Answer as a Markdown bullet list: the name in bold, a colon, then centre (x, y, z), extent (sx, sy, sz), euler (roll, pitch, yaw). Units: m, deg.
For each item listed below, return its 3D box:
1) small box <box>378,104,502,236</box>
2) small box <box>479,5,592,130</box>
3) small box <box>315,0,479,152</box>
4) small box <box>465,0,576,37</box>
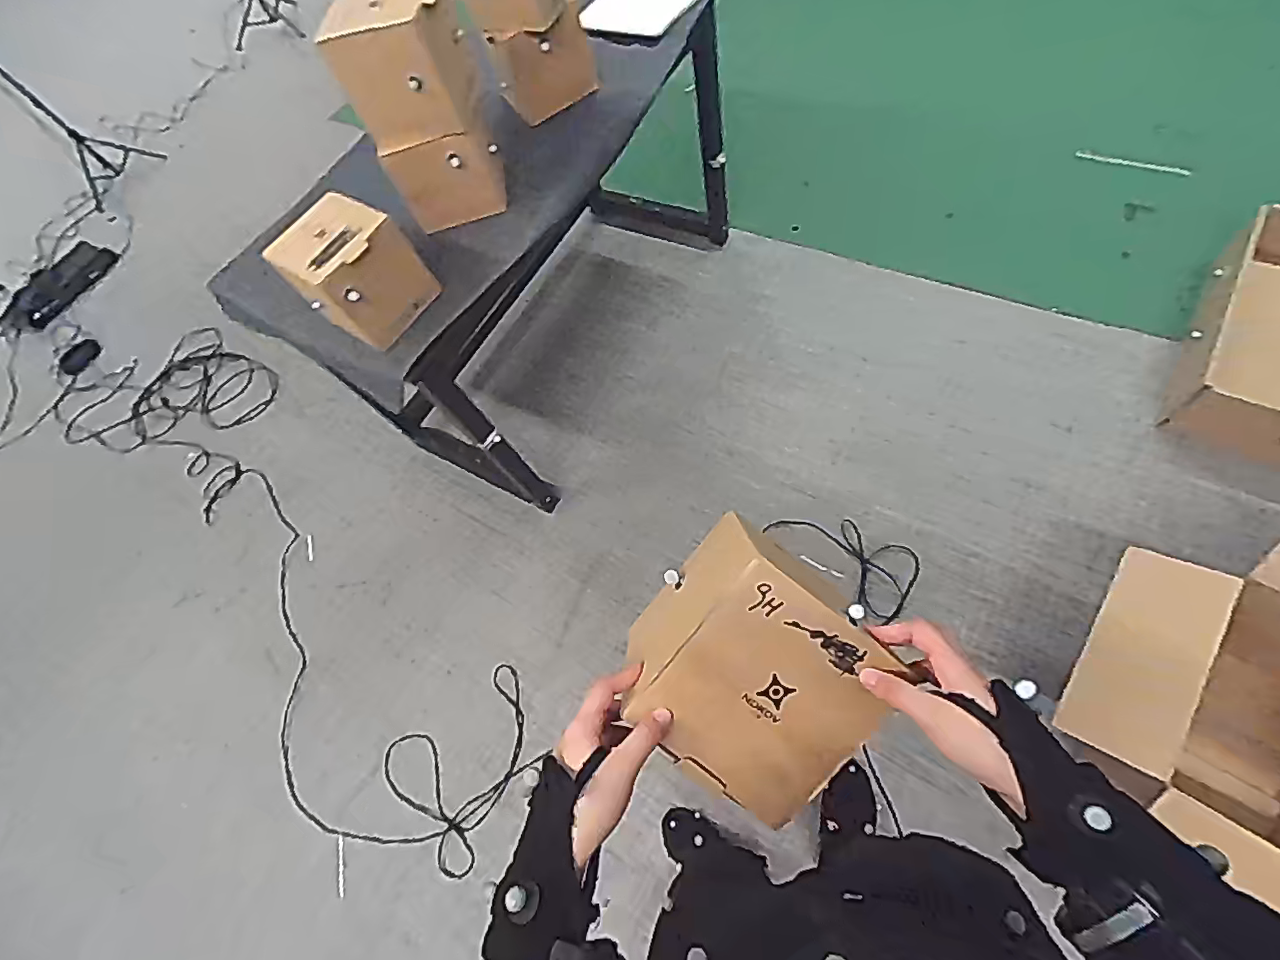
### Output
- **small box**: centre (-0.379, -0.615, 1.058), extent (0.179, 0.176, 0.168), euler (-13, 63, 6)
- **small box**: centre (-0.219, -0.902, 1.157), extent (0.179, 0.176, 0.168), euler (-32, 63, -3)
- **small box**: centre (-0.395, -0.694, 0.915), extent (0.179, 0.176, 0.168), euler (-3, 64, 12)
- **small box**: centre (-0.237, -0.966, 1.006), extent (0.179, 0.176, 0.168), euler (20, 72, 20)
